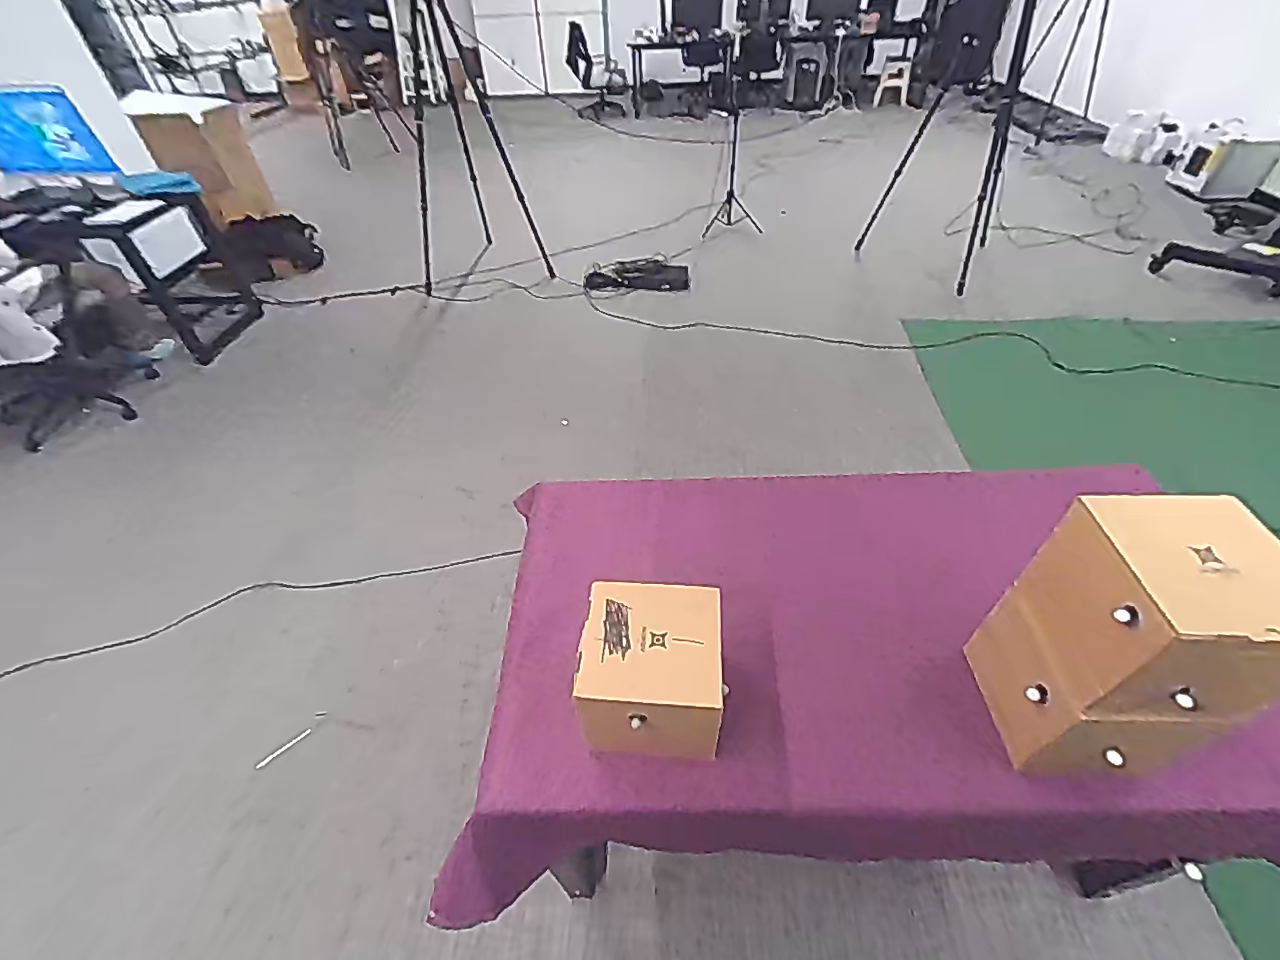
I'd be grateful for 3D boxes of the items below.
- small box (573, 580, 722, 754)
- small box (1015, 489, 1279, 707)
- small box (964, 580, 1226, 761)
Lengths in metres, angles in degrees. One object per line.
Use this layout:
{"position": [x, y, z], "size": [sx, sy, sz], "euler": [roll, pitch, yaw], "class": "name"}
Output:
{"position": [0.017, 0.255, 0.733], "size": [0.179, 0.176, 0.168], "euler": [2, 45, 4], "class": "small box"}
{"position": [0.562, 0.128, 0.596], "size": [0.168, 0.176, 0.179], "euler": [-1, 46, 3], "class": "small box"}
{"position": [0.564, 0.250, 0.705], "size": [0.168, 0.176, 0.179], "euler": [0, 44, 3], "class": "small box"}
